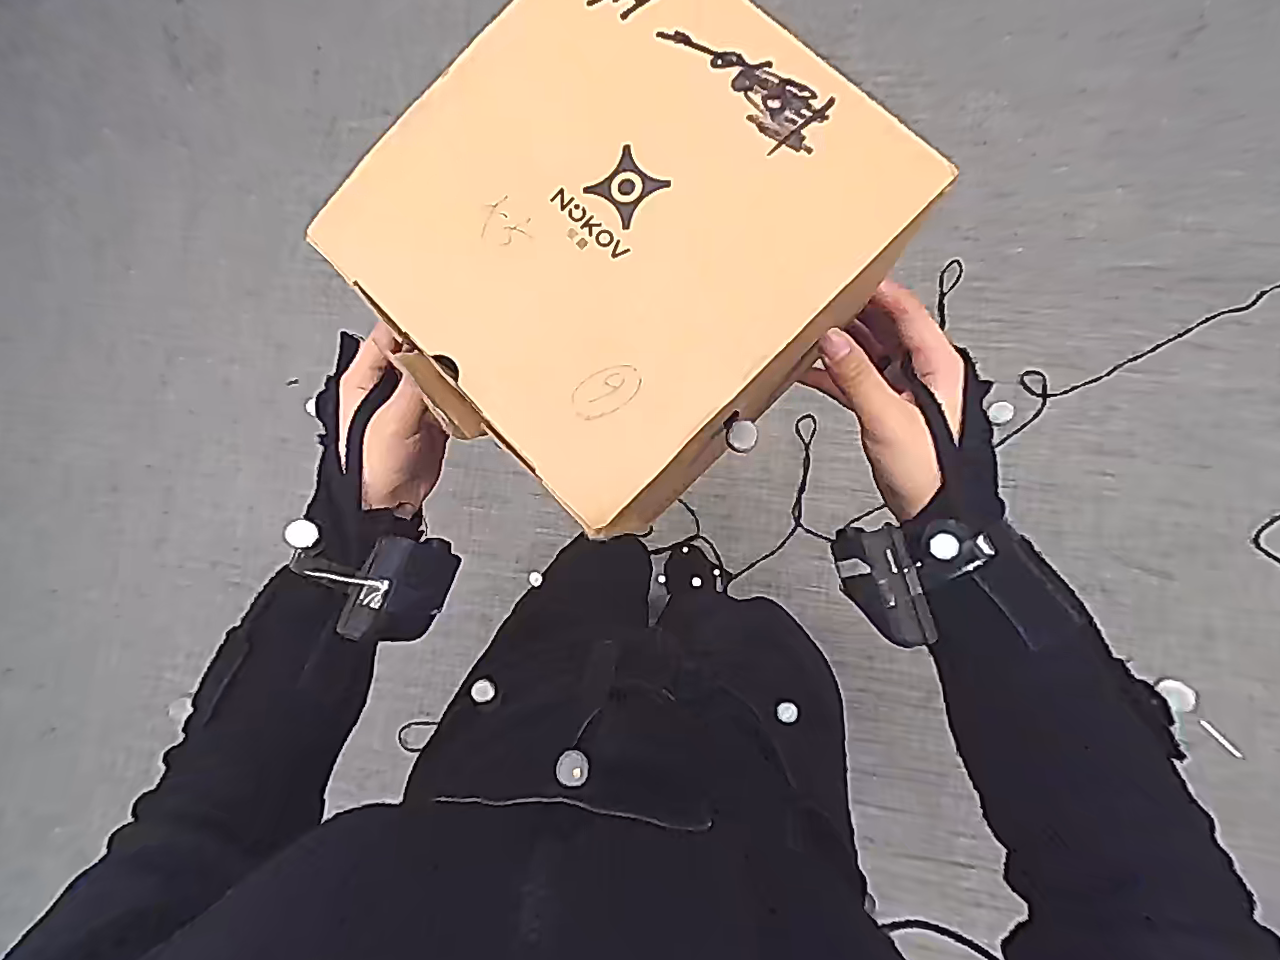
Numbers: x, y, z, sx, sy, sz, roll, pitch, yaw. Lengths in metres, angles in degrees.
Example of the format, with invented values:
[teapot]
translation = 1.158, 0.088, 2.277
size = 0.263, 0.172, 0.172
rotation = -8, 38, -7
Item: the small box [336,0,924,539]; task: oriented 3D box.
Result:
[small box]
translation = -0.001, -0.086, 0.287
size = 0.179, 0.176, 0.168
rotation = -45, 82, 2
